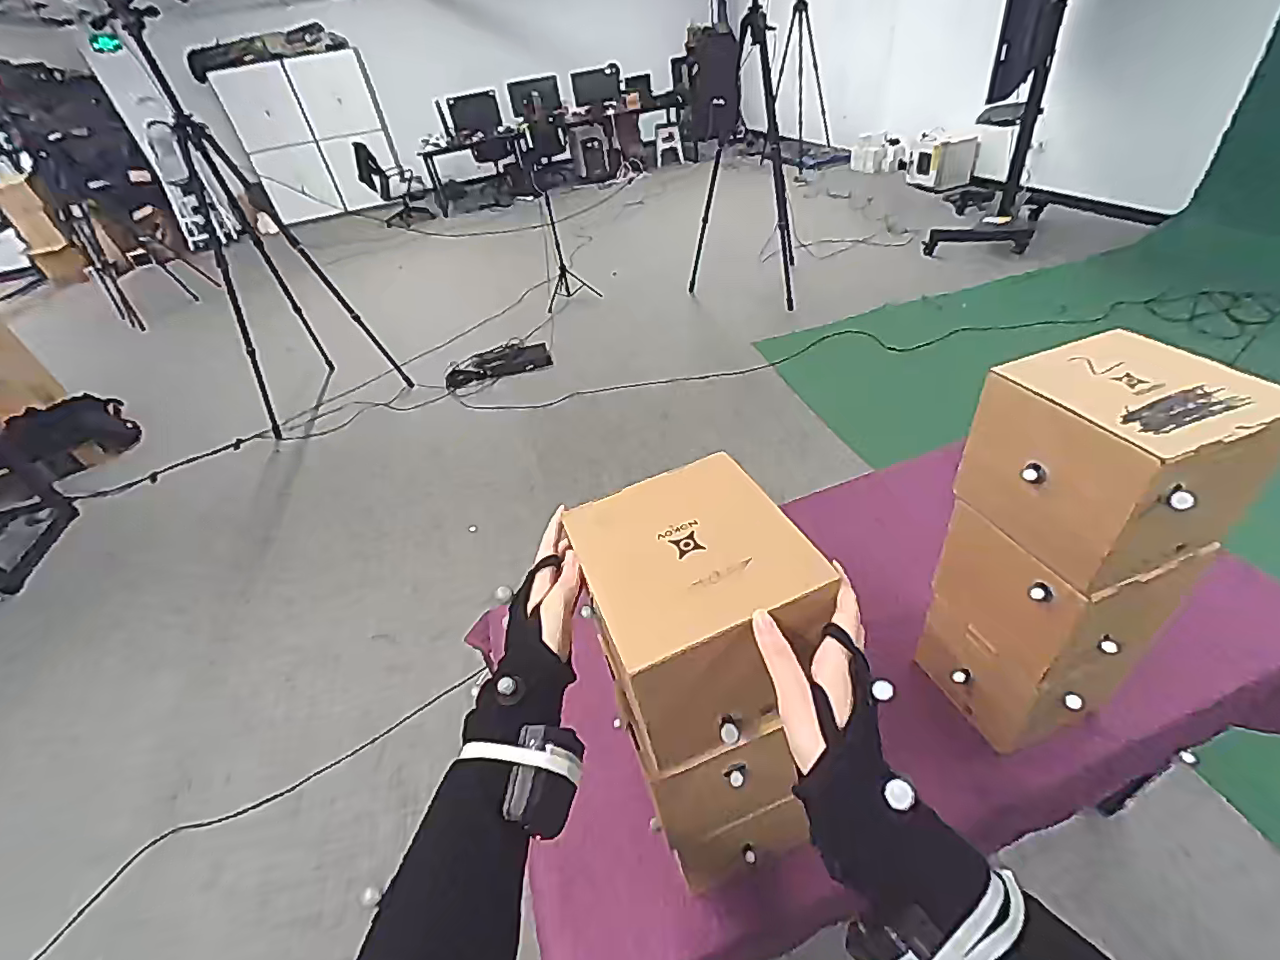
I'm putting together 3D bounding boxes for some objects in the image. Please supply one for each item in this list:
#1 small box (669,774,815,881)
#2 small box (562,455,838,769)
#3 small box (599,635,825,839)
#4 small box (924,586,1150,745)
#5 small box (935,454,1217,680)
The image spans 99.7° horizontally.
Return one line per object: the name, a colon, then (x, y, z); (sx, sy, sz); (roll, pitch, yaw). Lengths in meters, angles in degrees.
small box: (0.100, 0.365, 0.678); (0.168, 0.176, 0.179); (-18, 39, -10)
small box: (0.046, 0.111, 0.477); (0.168, 0.176, 0.179); (-21, 41, -11)
small box: (0.073, 0.240, 0.574); (0.179, 0.176, 0.168); (-19, 40, -10)
small box: (0.520, 0.228, 0.743); (0.179, 0.176, 0.168); (-20, 40, -10)
small box: (0.490, 0.101, 0.645); (0.168, 0.176, 0.179); (-18, 40, -9)
